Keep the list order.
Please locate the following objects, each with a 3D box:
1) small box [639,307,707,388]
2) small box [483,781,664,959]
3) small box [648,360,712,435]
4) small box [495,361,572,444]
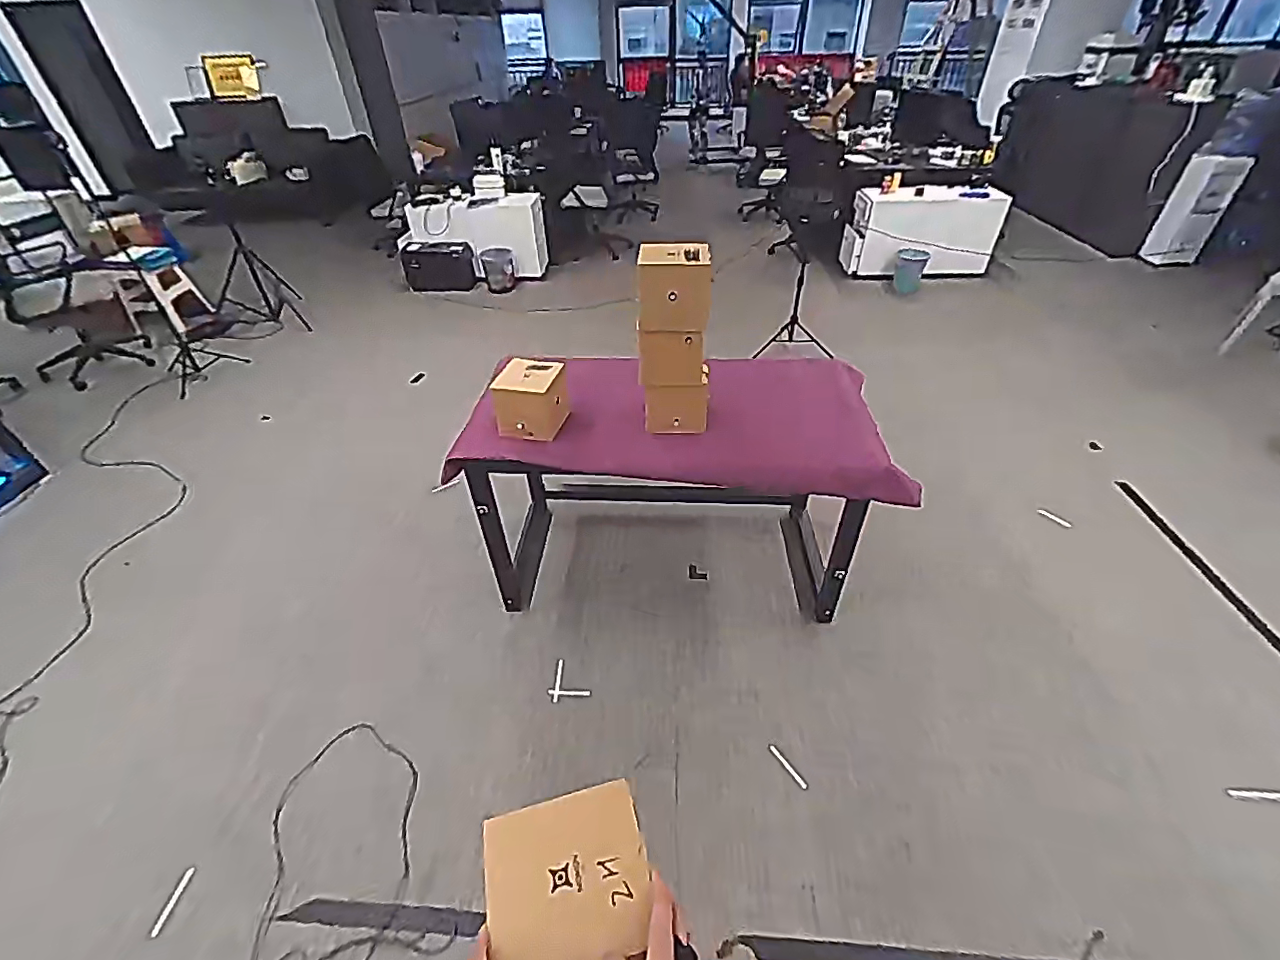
[{"bbox_3d":[0.090,-0.363,1.483,0.179,0.176,0.168,0,39,1],"label":"small box"},{"bbox_3d":[-0.074,0.488,0.621,0.179,0.176,0.168,-9,37,-11],"label":"small box"},{"bbox_3d":[0.113,-0.243,1.593,0.179,0.176,0.168,0,38,1],"label":"small box"},{"bbox_3d":[-0.305,-0.229,1.591,0.168,0.176,0.179,7,41,11],"label":"small box"}]
